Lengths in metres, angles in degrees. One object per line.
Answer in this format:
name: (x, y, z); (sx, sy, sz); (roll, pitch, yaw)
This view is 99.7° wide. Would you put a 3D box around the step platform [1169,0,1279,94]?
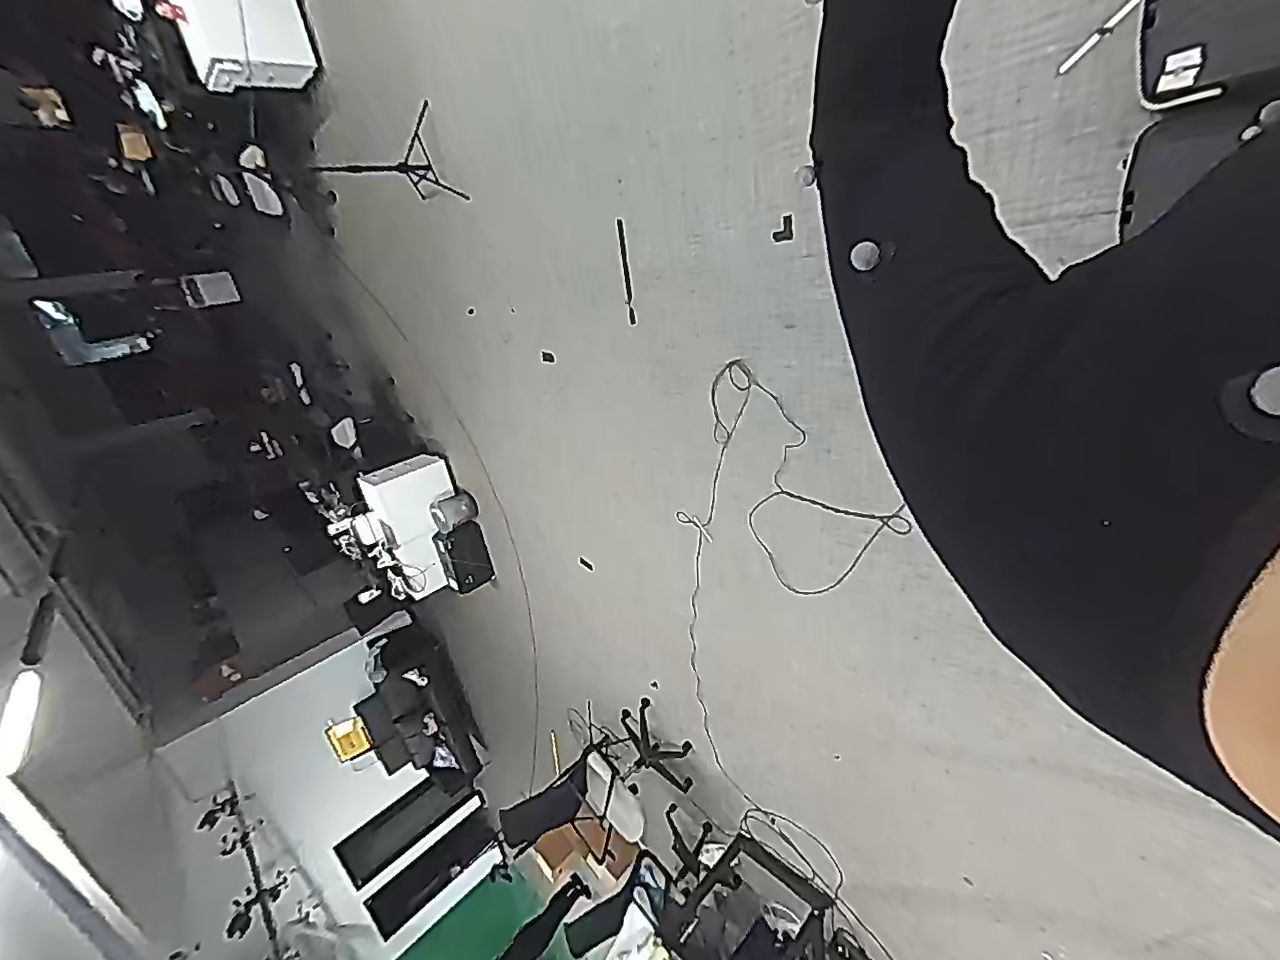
step platform: (1.135, -0.758, 0.670); (0.684, 0.204, 0.286); (11, 120, 45)
